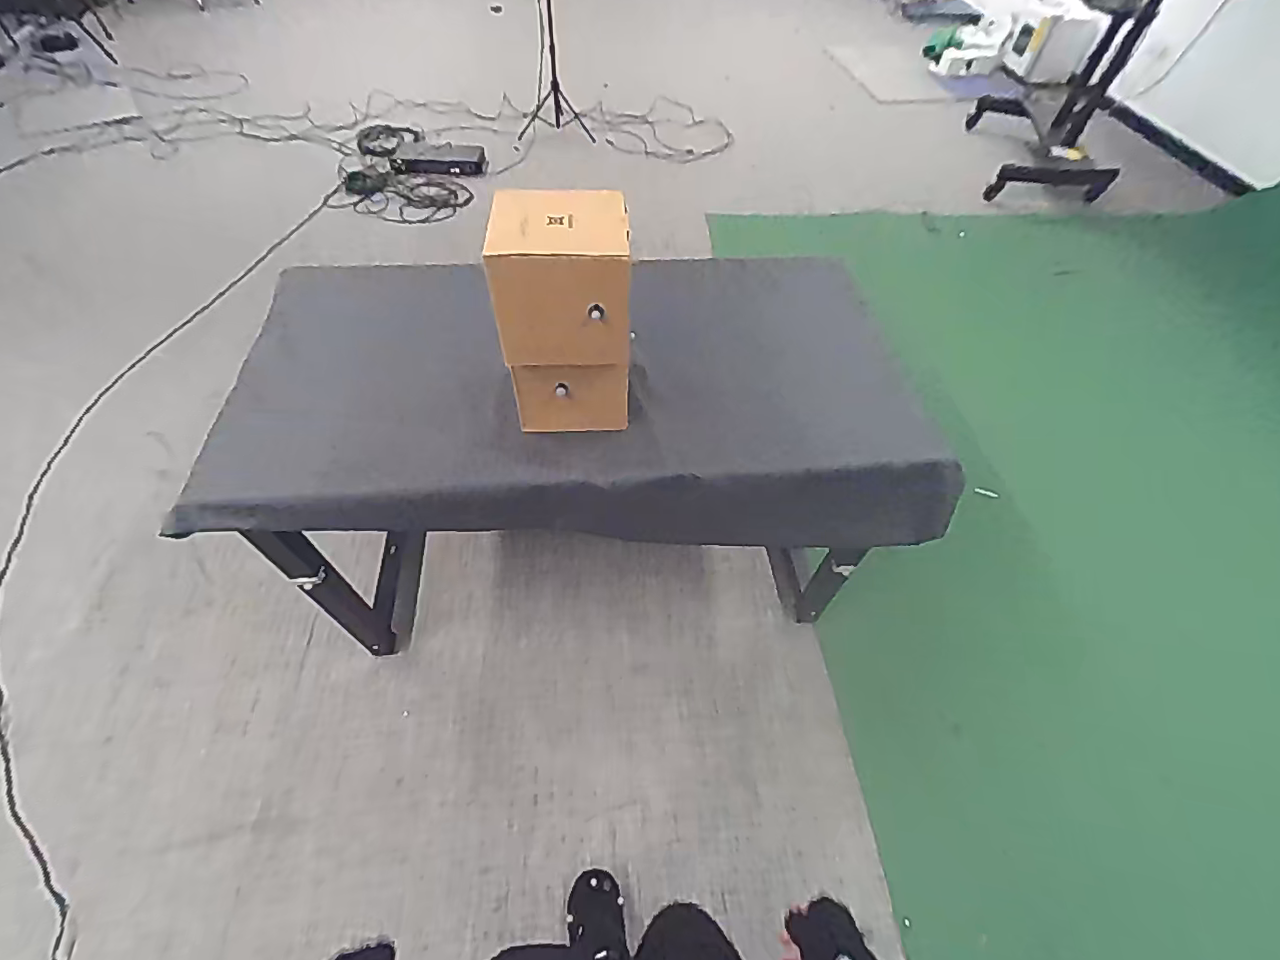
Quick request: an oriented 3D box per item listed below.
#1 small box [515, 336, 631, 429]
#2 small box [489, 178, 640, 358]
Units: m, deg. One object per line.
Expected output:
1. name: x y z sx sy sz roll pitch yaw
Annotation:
1. small box: -0.109 -0.199 0.895 0.179 0.176 0.168 -4 53 -6
2. small box: -0.100 -0.283 0.733 0.179 0.176 0.168 -4 54 -6
